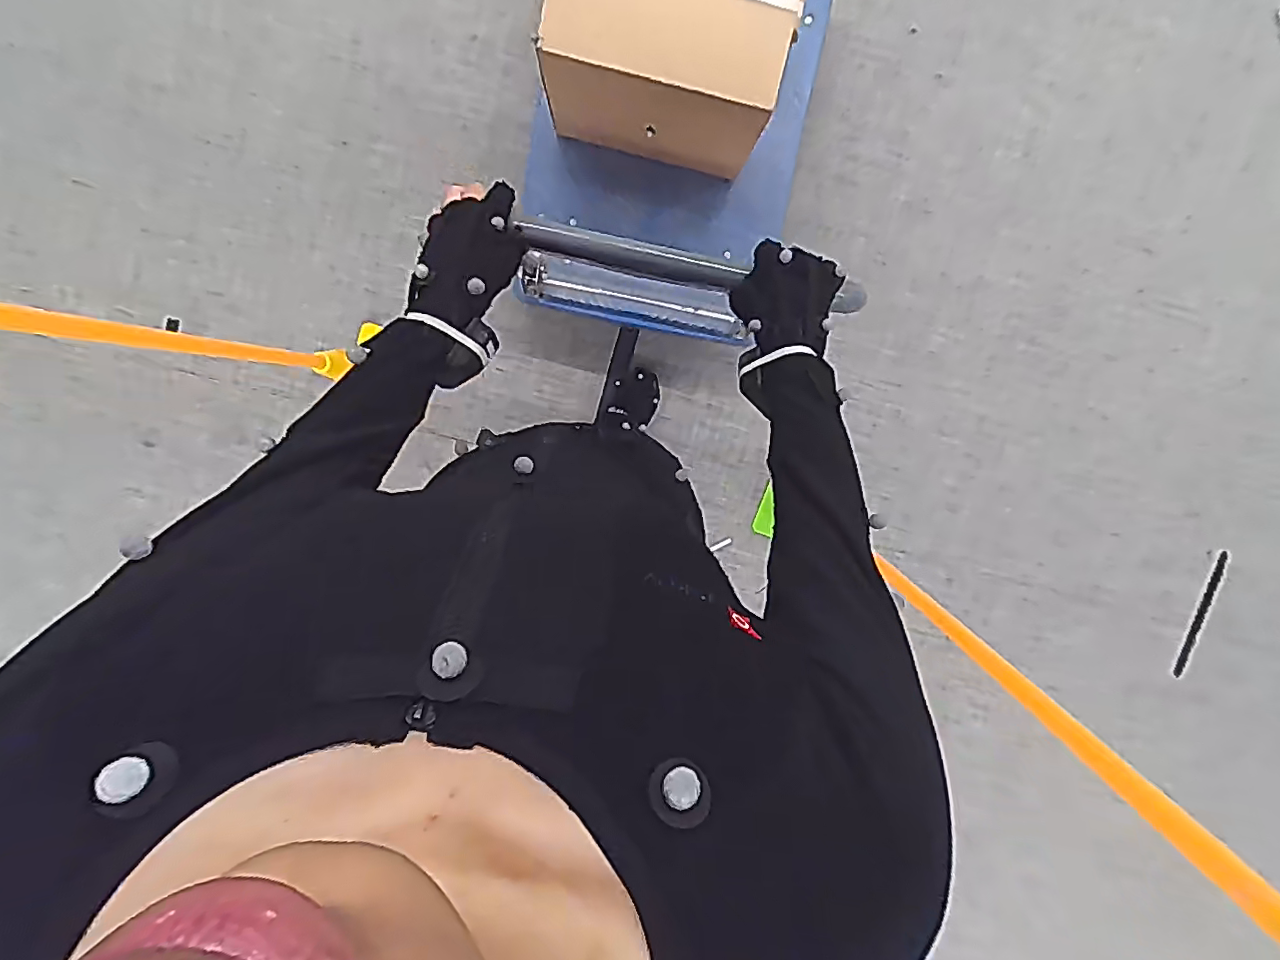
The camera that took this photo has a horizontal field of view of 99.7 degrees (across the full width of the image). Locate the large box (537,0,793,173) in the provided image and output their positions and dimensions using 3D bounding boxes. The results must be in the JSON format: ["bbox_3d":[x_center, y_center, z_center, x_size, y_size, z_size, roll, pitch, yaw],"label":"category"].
[{"bbox_3d":[0.053,-0.833,1.021,0.408,0.320,0.320,12,99,-3],"label":"large box"}]

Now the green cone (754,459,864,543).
[{"bbox_3d":[0.443,0.087,1.323,0.202,0.368,0.200,19,98,-6],"label":"green cone"}]
